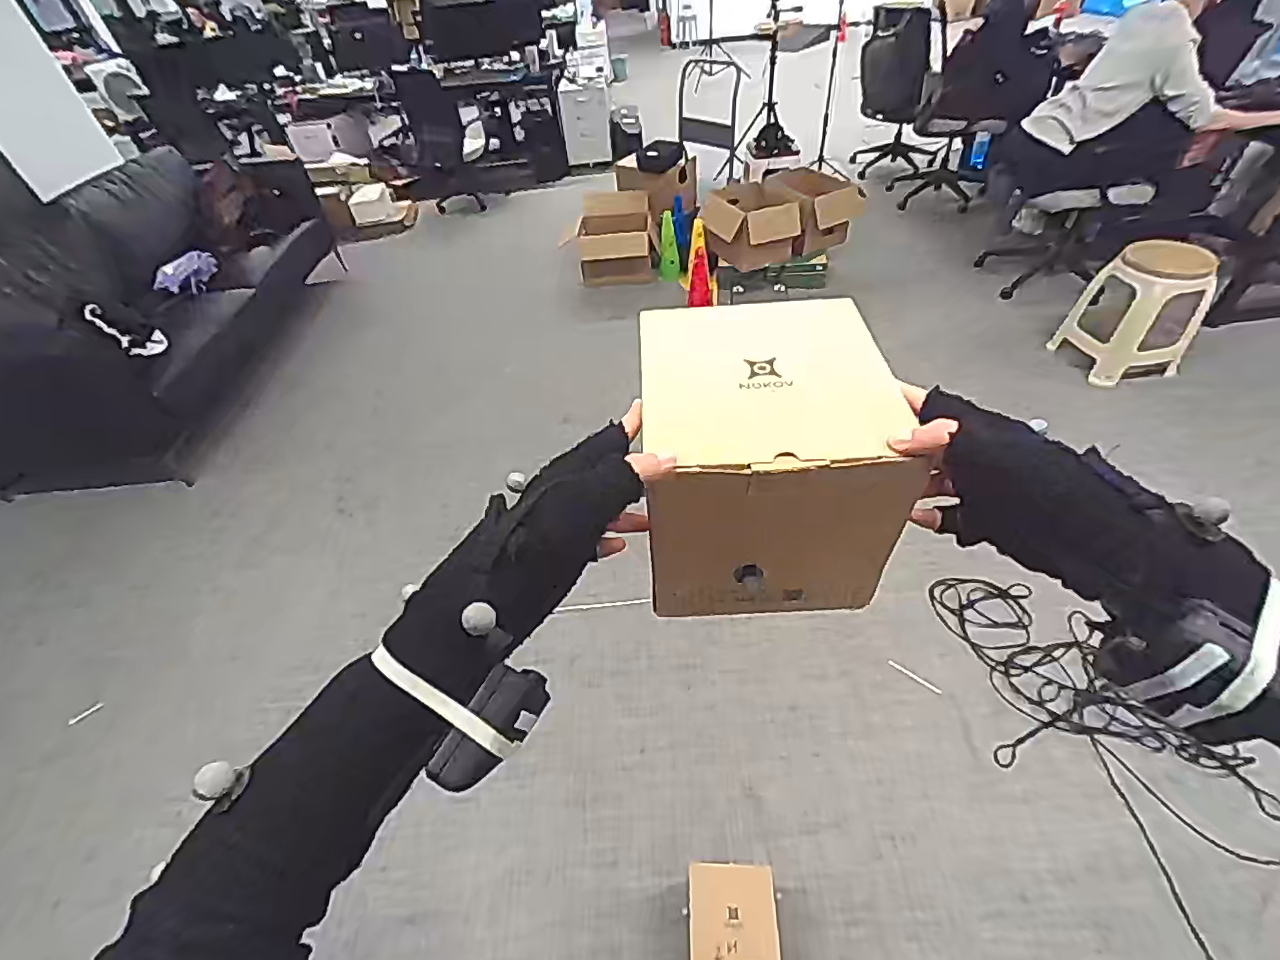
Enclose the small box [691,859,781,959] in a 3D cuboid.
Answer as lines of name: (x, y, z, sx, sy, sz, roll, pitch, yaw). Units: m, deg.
small box: (0.187, 0.890, 1.088, 0.168, 0.176, 0.179, -2, 45, 6)
